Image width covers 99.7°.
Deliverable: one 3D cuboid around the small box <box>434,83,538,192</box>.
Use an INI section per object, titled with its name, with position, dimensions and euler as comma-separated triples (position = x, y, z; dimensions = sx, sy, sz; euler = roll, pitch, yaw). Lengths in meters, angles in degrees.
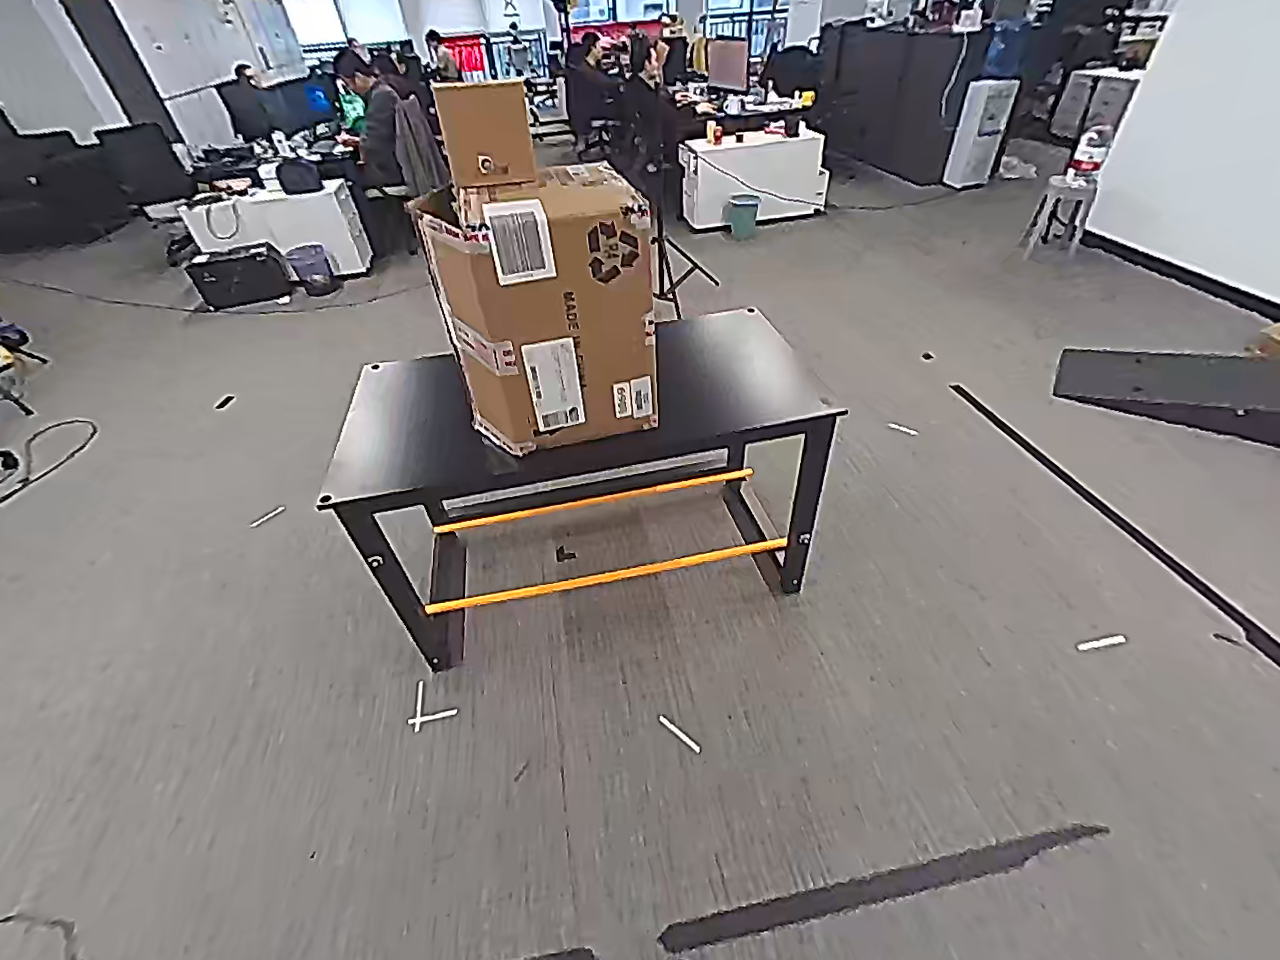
[small box]
position = -0.312, -0.696, 1.099
dimensions = 0.168, 0.176, 0.179
euler = -13, 40, -11
